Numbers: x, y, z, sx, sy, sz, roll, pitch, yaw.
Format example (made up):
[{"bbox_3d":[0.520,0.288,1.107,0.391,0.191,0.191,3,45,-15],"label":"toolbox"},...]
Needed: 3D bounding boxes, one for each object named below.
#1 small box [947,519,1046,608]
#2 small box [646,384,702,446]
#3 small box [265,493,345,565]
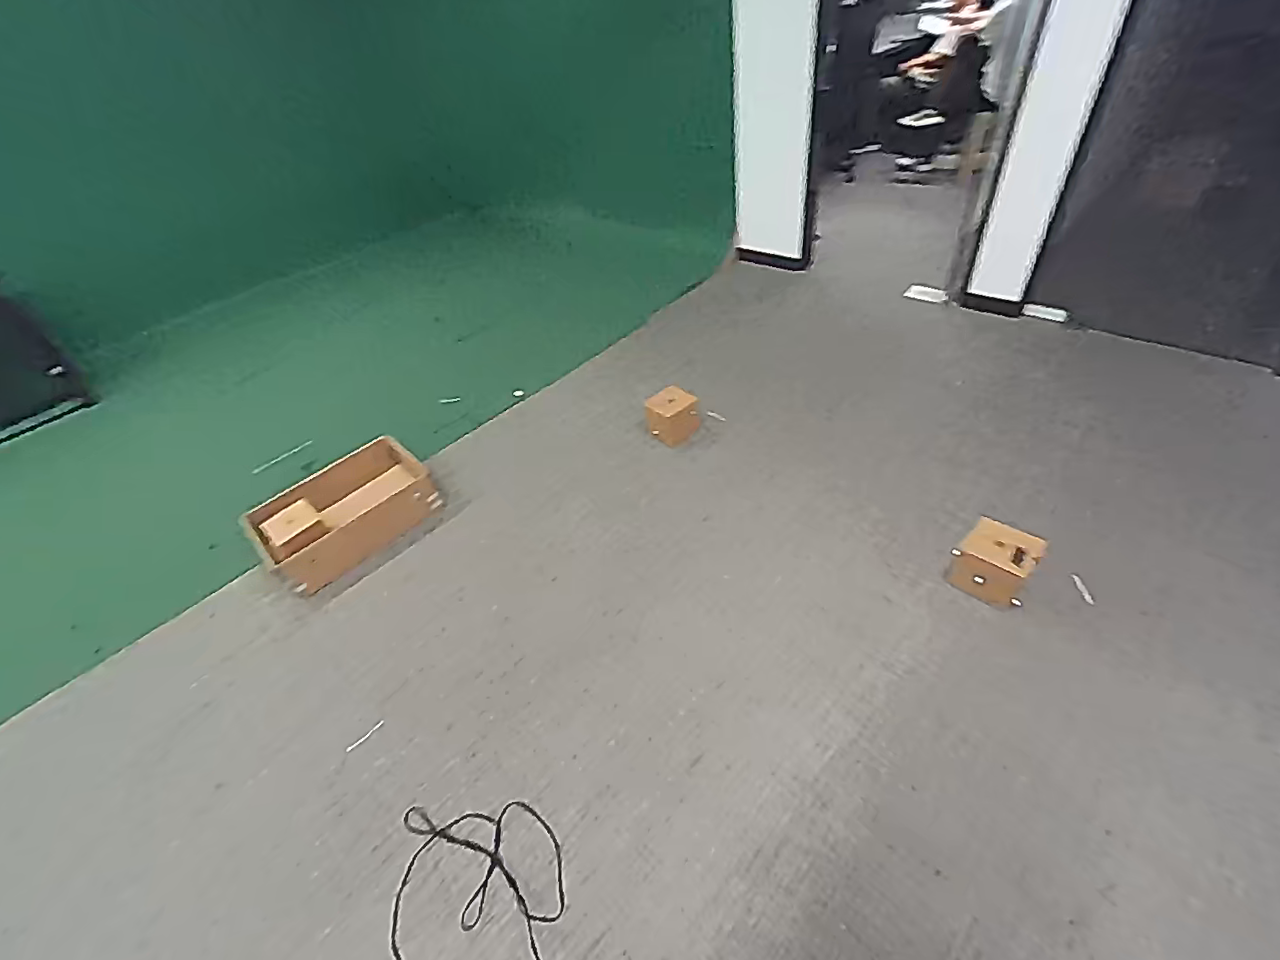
[{"bbox_3d":[1.054,0.254,1.611,0.168,0.176,0.179,-38,49,-26],"label":"small box"},{"bbox_3d":[0.149,-0.280,2.325,0.179,0.176,0.168,-34,48,-23],"label":"small box"},{"bbox_3d":[-1.252,0.187,2.025,0.179,0.176,0.168,30,56,32],"label":"small box"}]
